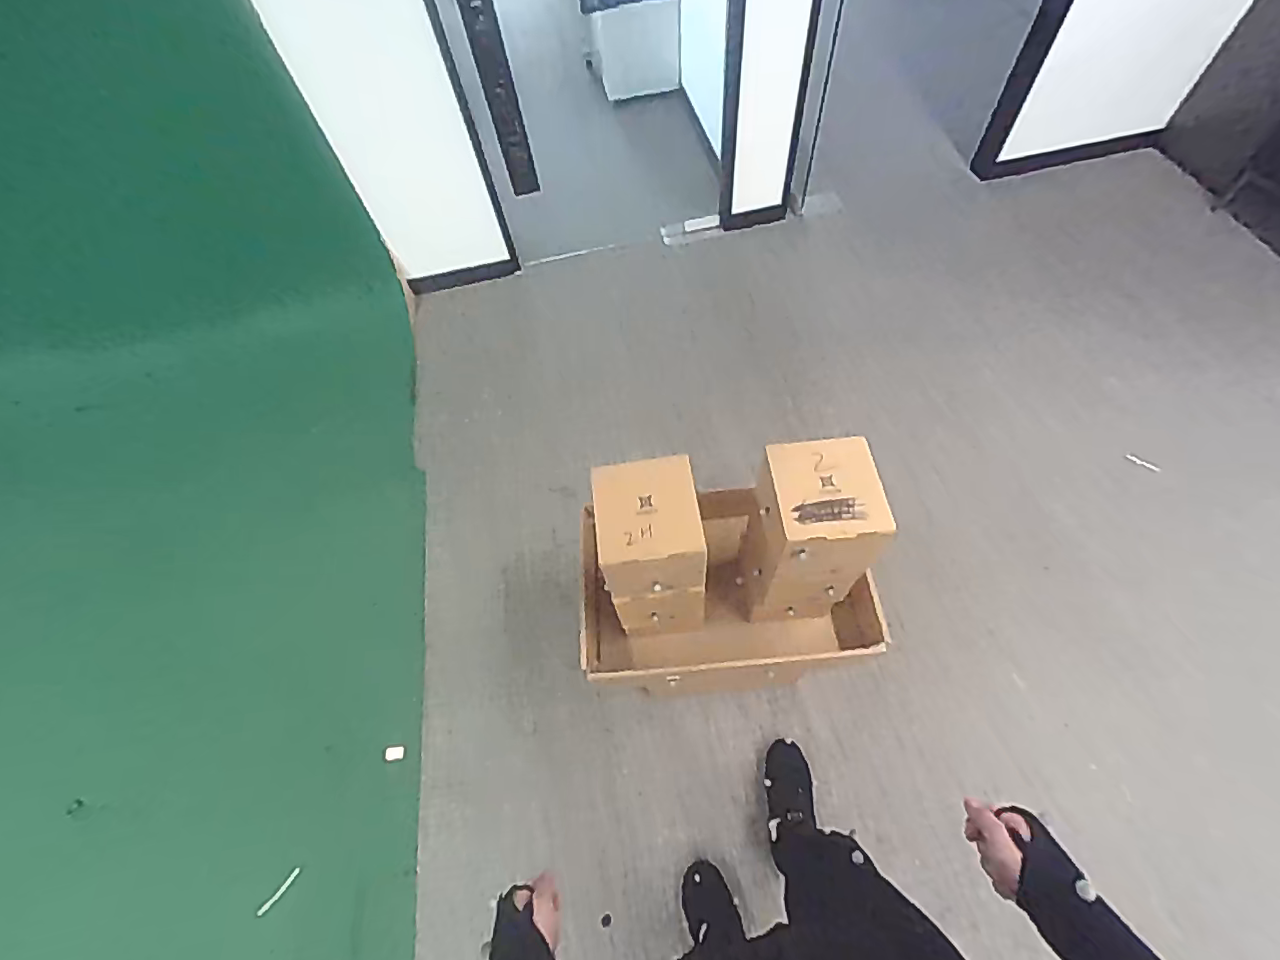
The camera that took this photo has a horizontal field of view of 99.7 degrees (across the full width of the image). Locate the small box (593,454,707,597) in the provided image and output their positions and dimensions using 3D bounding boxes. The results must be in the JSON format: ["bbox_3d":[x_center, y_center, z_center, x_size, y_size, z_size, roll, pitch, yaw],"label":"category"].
[{"bbox_3d":[0.016,0.081,0.910,0.168,0.176,0.179,-8,60,1],"label":"small box"}]

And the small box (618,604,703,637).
[{"bbox_3d":[0.042,0.239,1.195,0.179,0.176,0.168,-8,60,1],"label":"small box"}]

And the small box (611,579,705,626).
[{"bbox_3d":[0.027,0.168,1.050,0.168,0.176,0.179,-8,60,0],"label":"small box"}]

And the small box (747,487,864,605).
[{"bbox_3d":[0.308,0.135,1.041,0.168,0.176,0.179,-5,59,1],"label":"small box"}]
